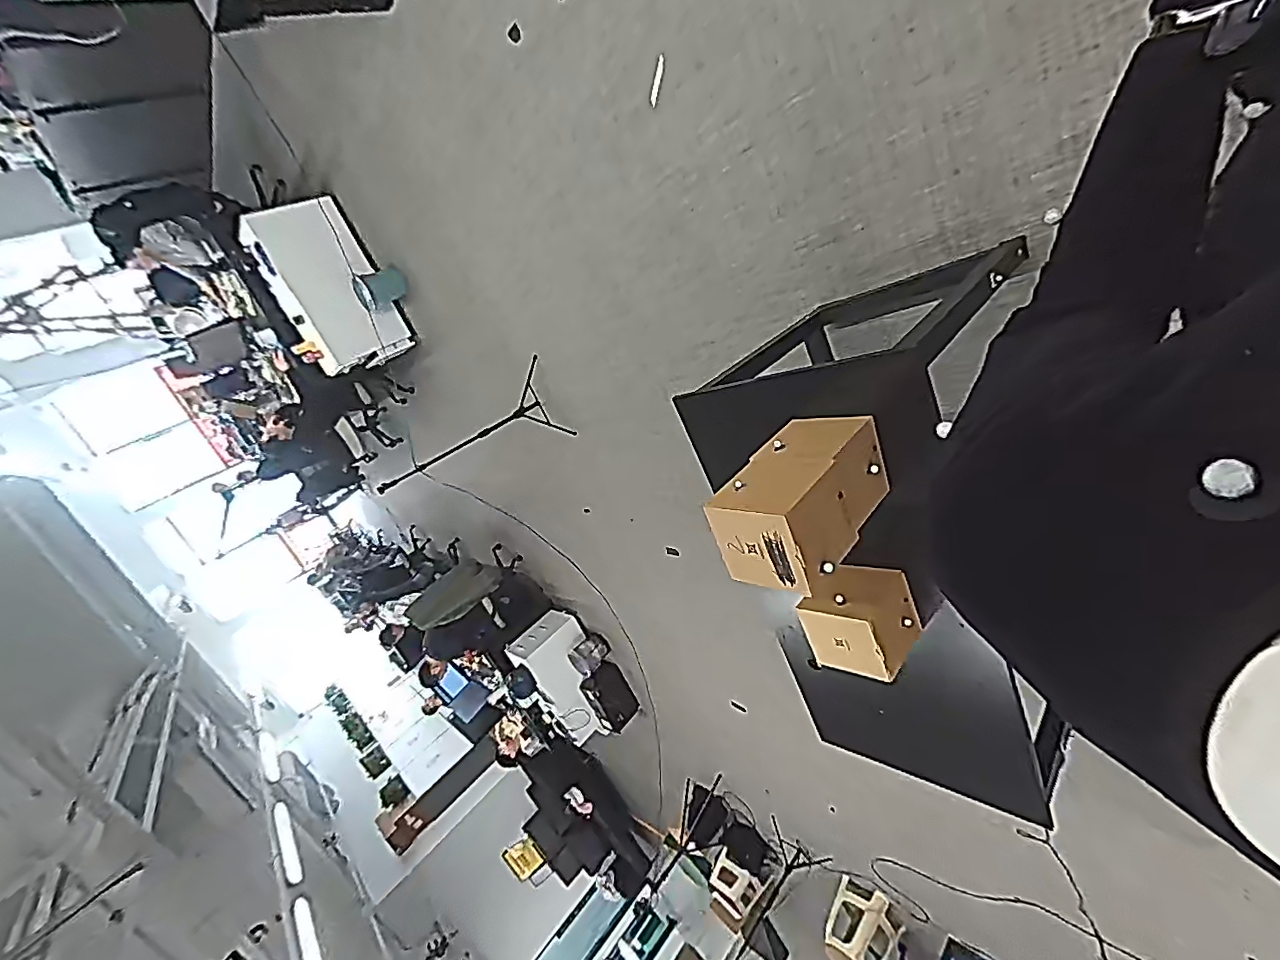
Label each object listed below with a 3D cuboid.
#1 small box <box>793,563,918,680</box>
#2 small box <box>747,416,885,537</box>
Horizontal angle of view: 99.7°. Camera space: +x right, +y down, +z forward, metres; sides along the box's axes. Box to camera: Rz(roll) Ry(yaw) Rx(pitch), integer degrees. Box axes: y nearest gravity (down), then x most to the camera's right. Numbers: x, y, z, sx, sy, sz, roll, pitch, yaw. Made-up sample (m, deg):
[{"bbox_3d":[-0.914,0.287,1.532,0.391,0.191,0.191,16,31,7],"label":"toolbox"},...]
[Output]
[{"bbox_3d":[0.476,0.301,1.192,0.179,0.176,0.168,-3,119,52],"label":"small box"},{"bbox_3d":[0.342,-0.015,1.047,0.179,0.176,0.168,5,126,49],"label":"small box"}]
